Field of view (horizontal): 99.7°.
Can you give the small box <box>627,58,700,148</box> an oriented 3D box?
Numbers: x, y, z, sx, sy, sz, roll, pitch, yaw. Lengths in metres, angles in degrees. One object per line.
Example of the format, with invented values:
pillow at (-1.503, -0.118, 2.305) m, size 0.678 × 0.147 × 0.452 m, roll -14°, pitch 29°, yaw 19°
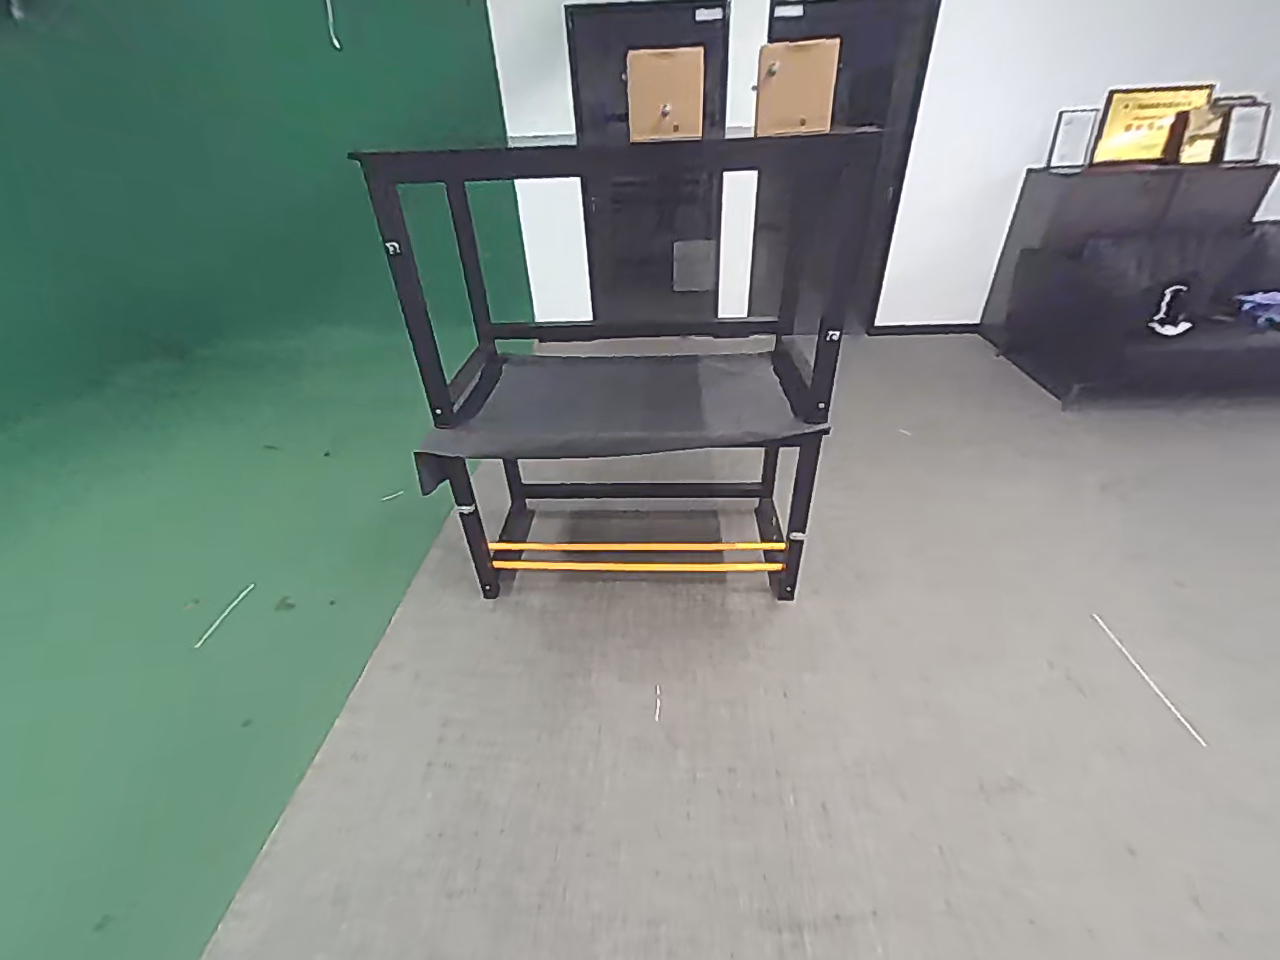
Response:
small box at (0.052, -0.909, 1.312) m, size 0.168 × 0.176 × 0.179 m, roll -4°, pitch 34°, yaw 0°
